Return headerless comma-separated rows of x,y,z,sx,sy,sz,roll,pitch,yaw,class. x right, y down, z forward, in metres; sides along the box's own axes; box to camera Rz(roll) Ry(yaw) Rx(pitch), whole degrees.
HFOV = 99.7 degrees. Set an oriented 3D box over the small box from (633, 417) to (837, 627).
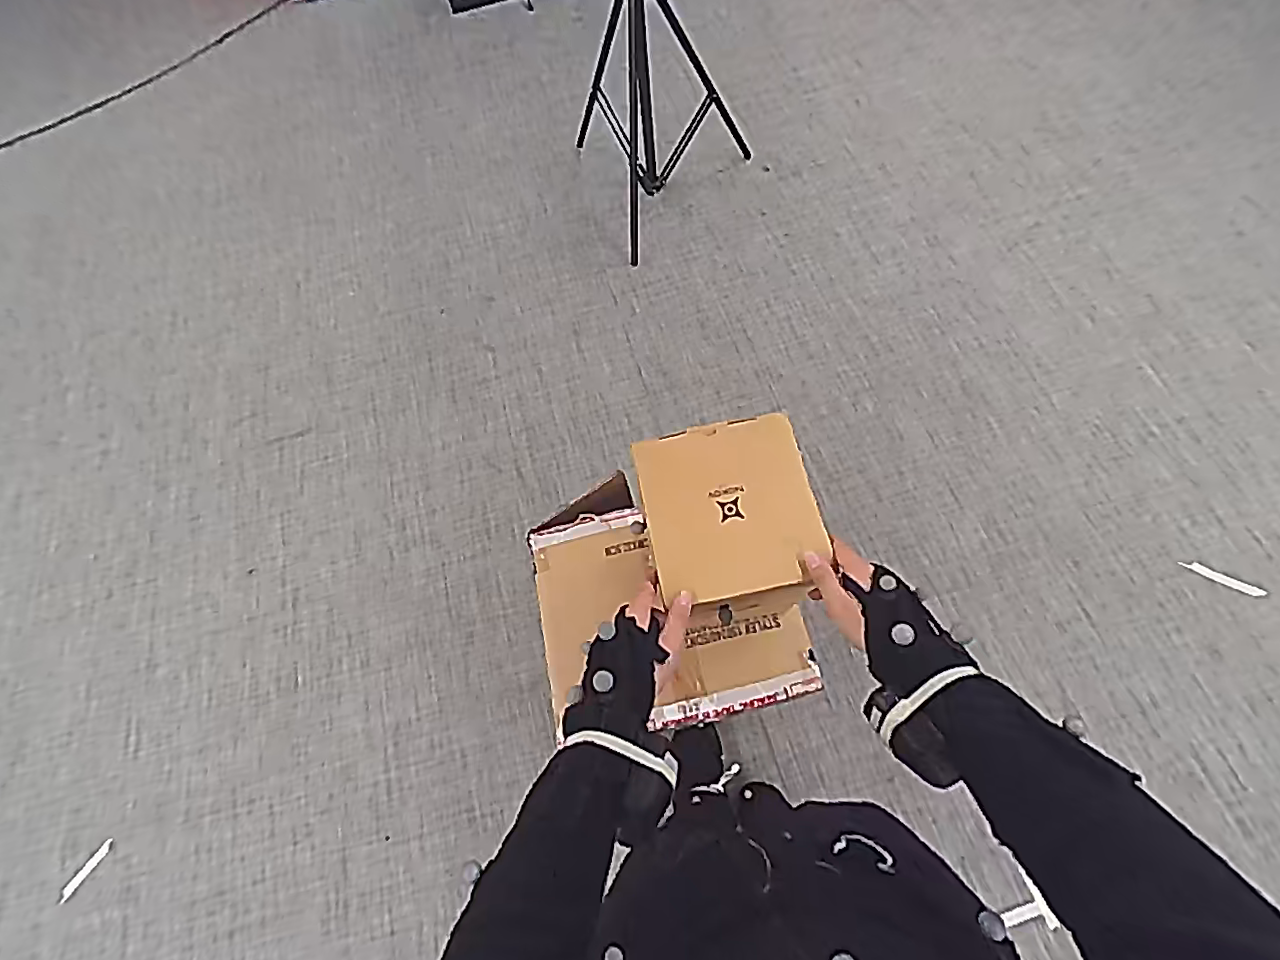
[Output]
0.094,0.059,0.600,0.168,0.176,0.179,-12,68,0,small box
